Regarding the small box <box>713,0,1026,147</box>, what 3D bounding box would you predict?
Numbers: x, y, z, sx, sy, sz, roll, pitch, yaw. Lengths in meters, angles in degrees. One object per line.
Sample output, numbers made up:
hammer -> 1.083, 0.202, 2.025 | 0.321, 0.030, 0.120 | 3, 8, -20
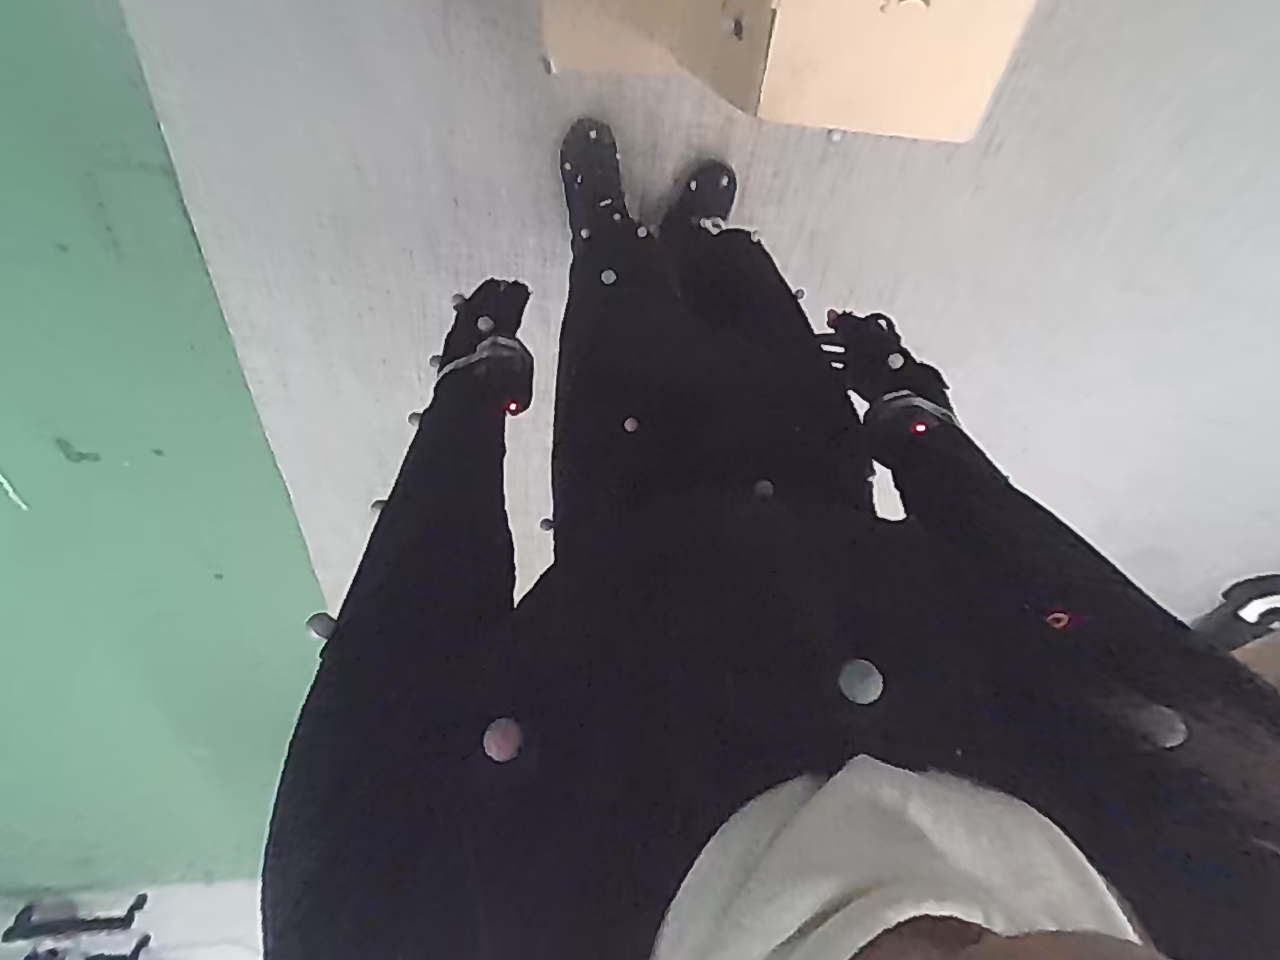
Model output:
small box -> 0.164, -0.372, 0.411 | 0.179, 0.176, 0.168 | 0, 133, -9
